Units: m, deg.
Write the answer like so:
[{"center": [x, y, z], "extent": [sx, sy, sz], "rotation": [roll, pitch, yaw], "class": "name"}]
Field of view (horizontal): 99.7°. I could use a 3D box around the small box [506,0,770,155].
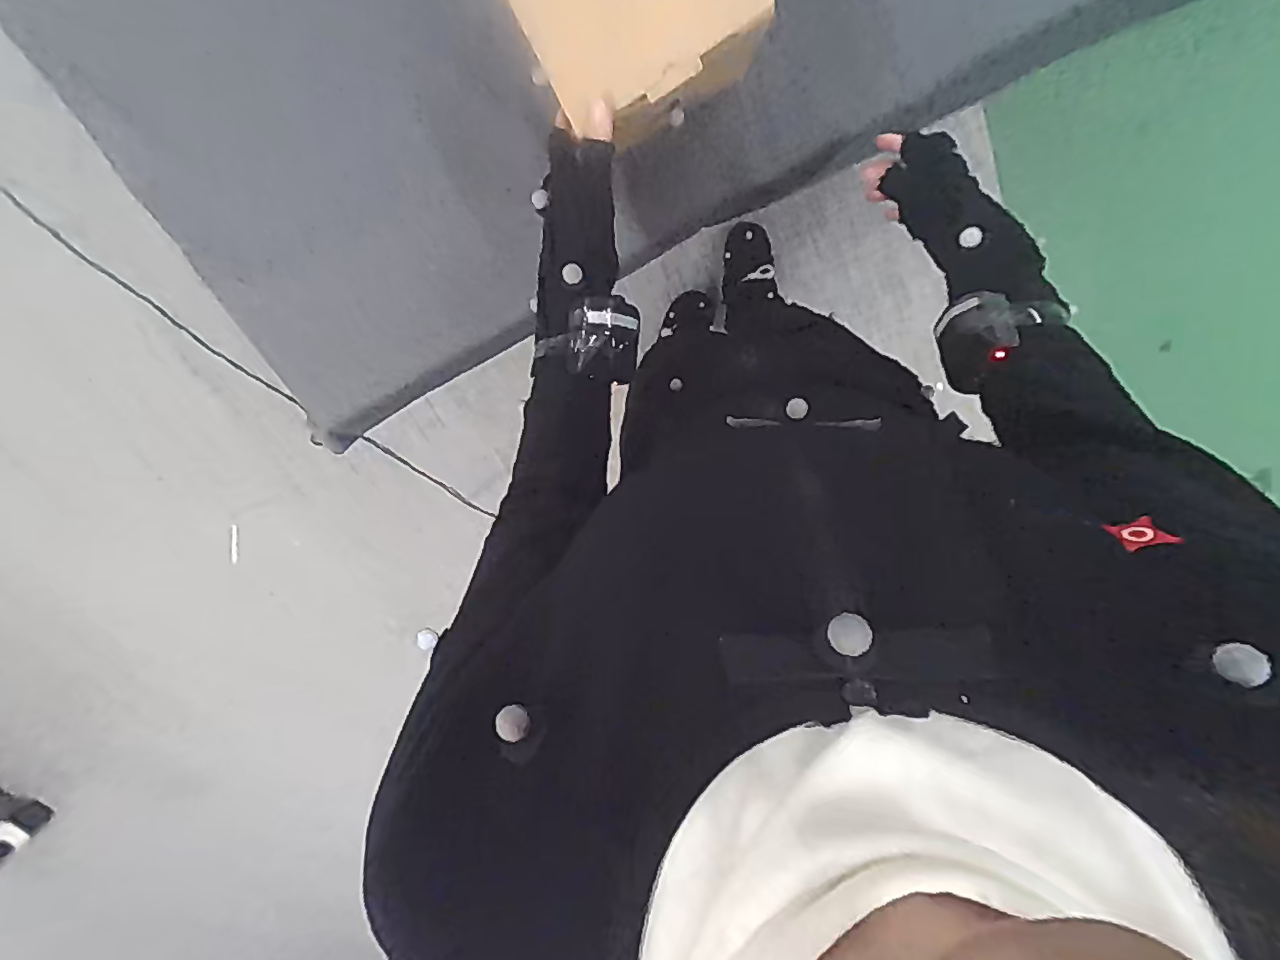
[{"center": [-0.013, -0.396, 0.445], "extent": [0.168, 0.176, 0.179], "rotation": [-26, 112, 13], "class": "small box"}]
